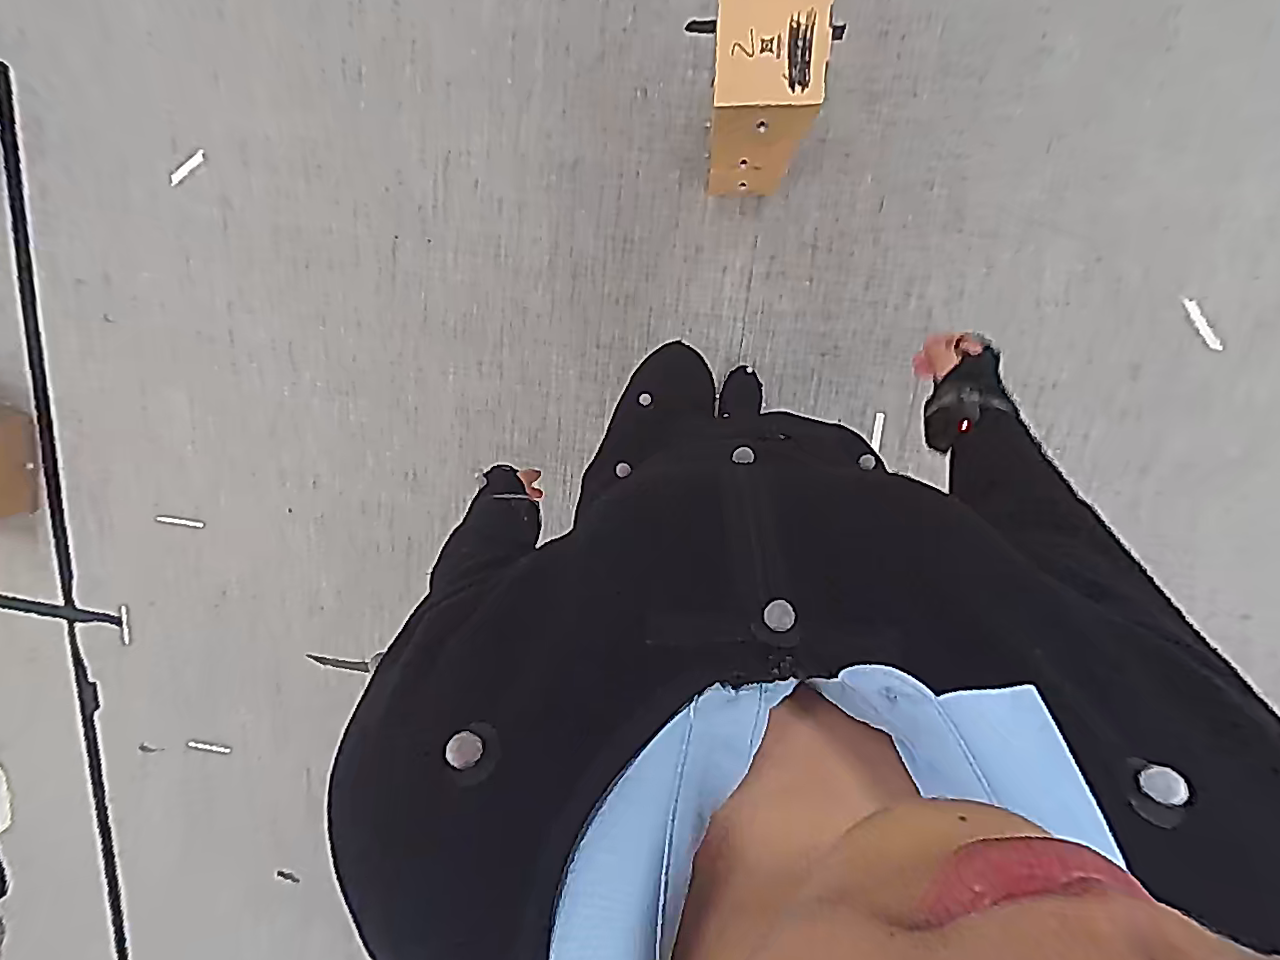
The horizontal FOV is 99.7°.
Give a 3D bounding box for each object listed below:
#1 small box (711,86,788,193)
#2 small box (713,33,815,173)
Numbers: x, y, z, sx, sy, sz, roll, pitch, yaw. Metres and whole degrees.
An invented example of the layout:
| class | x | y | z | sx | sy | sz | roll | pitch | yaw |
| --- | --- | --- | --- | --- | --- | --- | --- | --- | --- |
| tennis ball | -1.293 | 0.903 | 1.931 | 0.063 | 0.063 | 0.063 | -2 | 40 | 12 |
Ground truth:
| class | x | y | z | sx | sy | sz | roll | pitch | yaw |
| --- | --- | --- | --- | --- | --- | --- | --- | --- | --- |
| small box | 0.251 | -0.769 | 1.227 | 0.168 | 0.176 | 0.179 | 4 | 102 | 5 |
| small box | 0.235 | -0.735 | 1.069 | 0.168 | 0.176 | 0.179 | 5 | 104 | 5 |
